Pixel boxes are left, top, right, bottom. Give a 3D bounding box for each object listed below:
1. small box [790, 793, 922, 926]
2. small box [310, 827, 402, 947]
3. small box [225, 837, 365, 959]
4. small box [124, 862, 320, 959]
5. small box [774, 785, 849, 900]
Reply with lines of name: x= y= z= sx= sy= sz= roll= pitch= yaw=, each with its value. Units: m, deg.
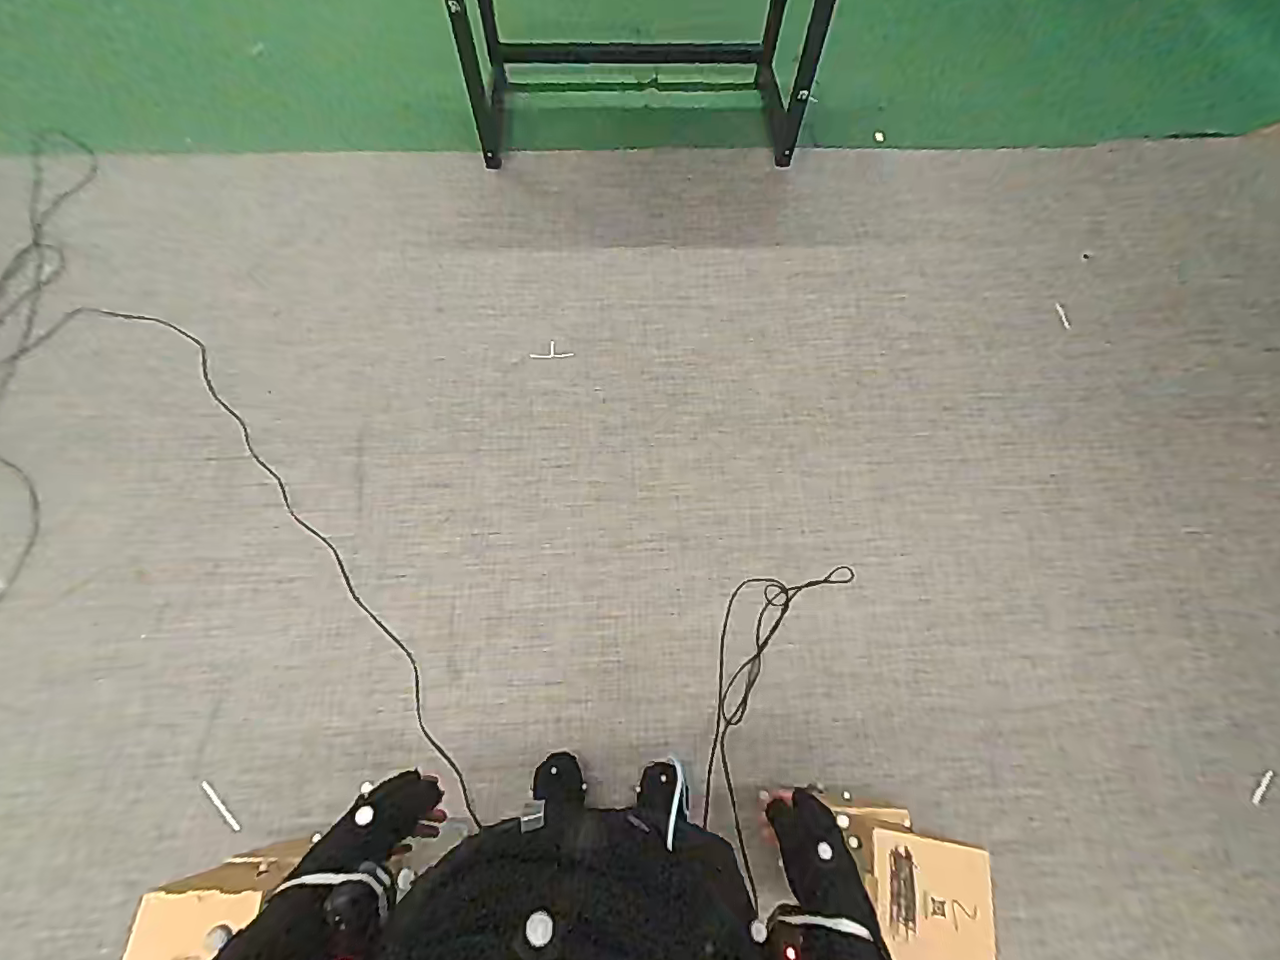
small box: x=0.385 y=0.687 z=0.998 sx=0.168 sy=0.176 sz=0.179 roll=2 pitch=66 yaw=-2
small box: x=-0.602 y=0.807 z=1.086 sx=0.179 sy=0.176 sz=0.168 roll=0 pitch=65 yaw=-2
small box: x=-0.606 y=0.738 z=0.937 sx=0.168 sy=0.176 sz=0.179 roll=1 pitch=65 yaw=-1
small box: x=-0.602 y=0.680 z=0.785 sx=0.168 sy=0.176 sz=0.179 roll=0 pitch=65 yaw=-1
small box: x=0.382 y=0.753 z=1.130 sx=0.168 sy=0.176 sz=0.179 roll=4 pitch=66 yaw=0
